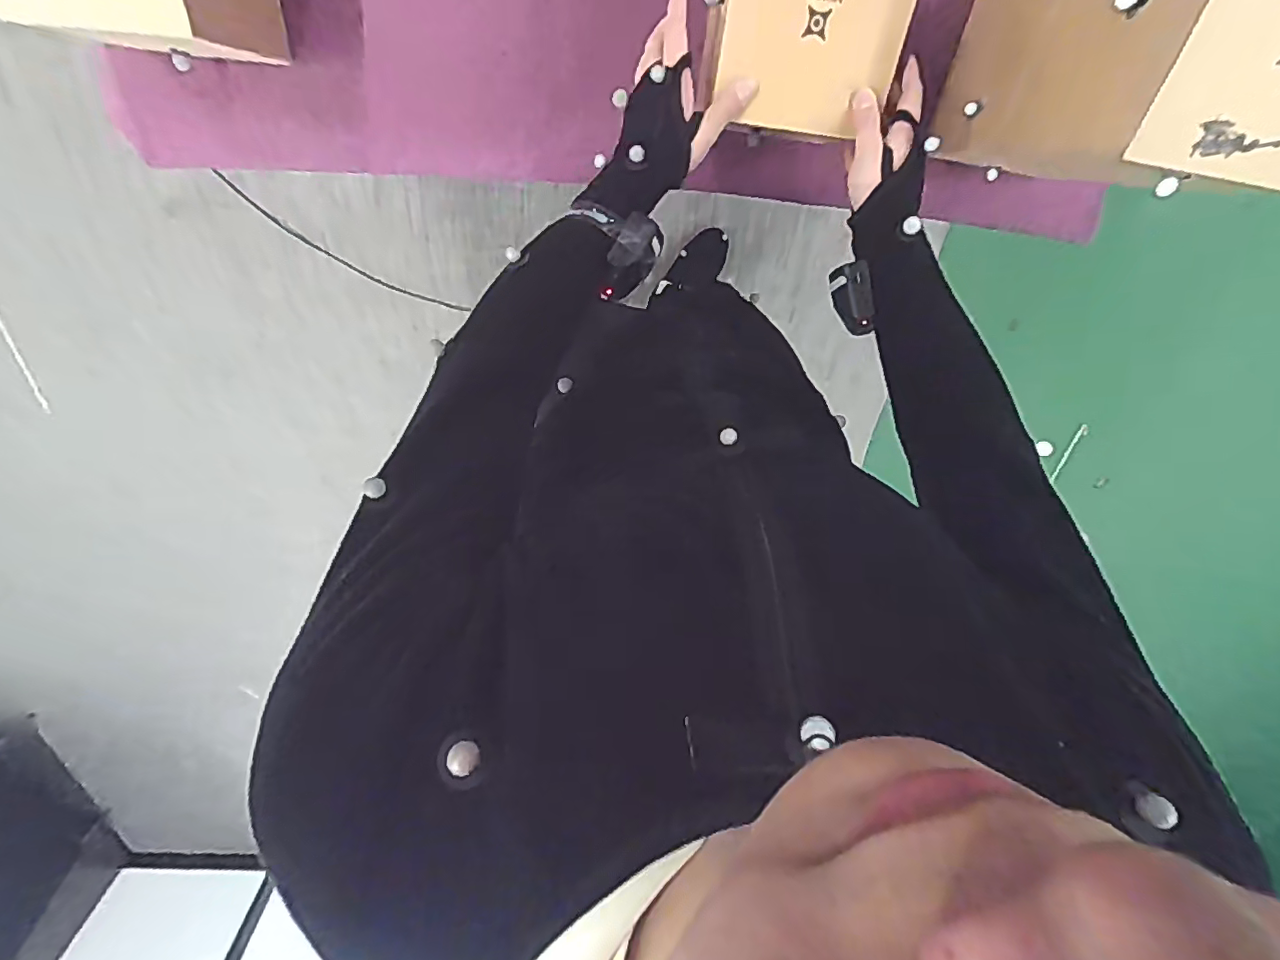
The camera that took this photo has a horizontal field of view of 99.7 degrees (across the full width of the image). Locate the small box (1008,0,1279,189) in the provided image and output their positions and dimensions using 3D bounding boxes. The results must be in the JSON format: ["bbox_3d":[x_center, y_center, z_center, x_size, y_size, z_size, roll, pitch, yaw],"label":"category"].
[{"bbox_3d":[0.439,-0.340,0.421,0.168,0.176,0.179,8,121,-4],"label":"small box"}]

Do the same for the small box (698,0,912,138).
[{"bbox_3d":[0.156,-0.456,0.544,0.168,0.176,0.179,6,121,-4],"label":"small box"}]

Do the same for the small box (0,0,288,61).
[{"bbox_3d":[-0.466,-0.514,0.496,0.168,0.176,0.179,4,121,-3],"label":"small box"}]
